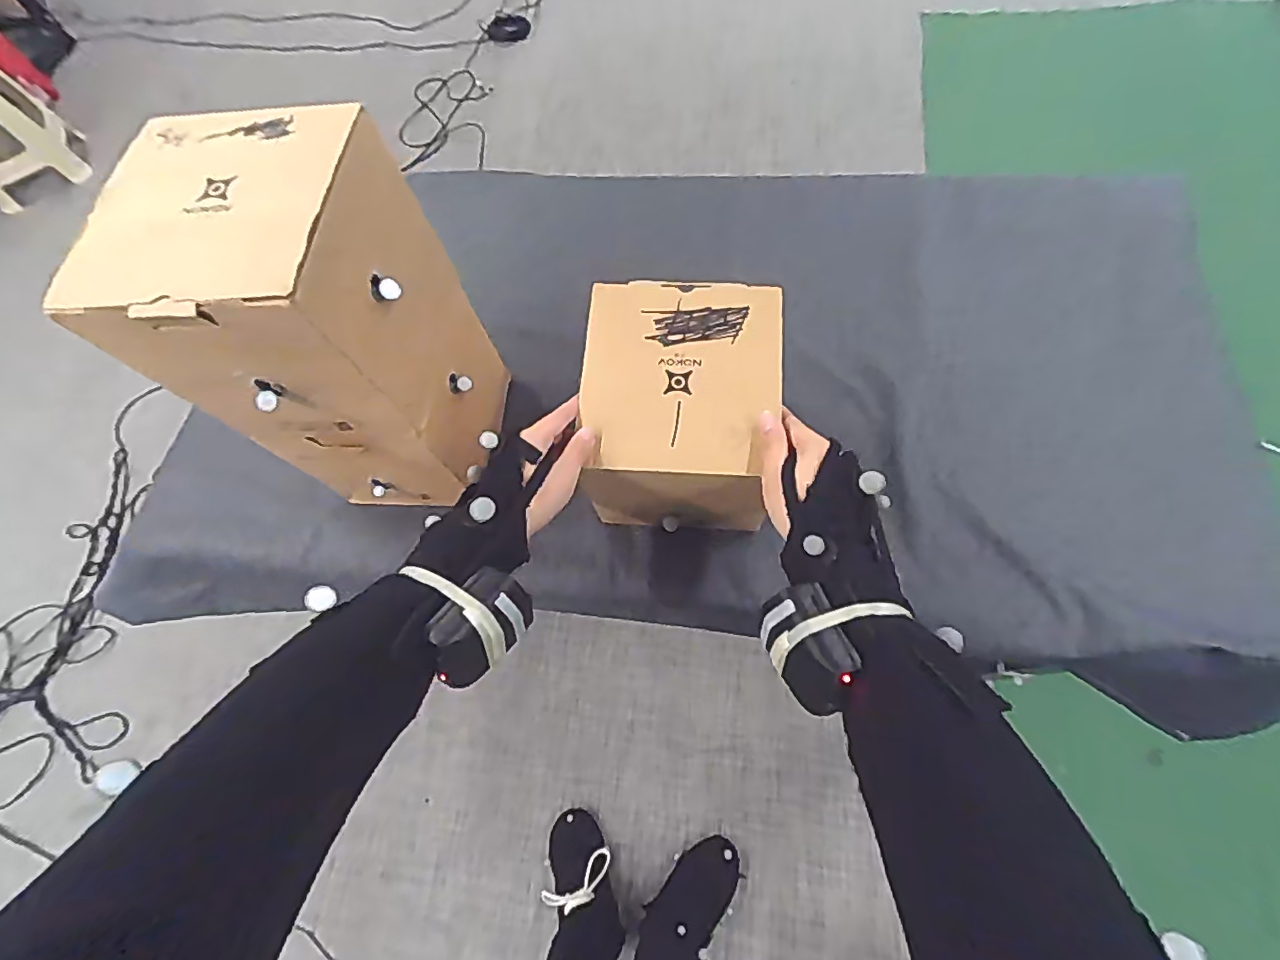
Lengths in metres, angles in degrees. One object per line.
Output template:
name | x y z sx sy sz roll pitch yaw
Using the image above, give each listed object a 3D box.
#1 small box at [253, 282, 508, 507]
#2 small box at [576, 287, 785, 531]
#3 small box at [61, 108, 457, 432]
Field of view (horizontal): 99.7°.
small box | -0.251 -0.085 0.577 0.168 0.176 0.179 1 67 7
small box | 0.043 -0.061 0.523 0.168 0.176 0.179 2 71 7
small box | -0.263 -0.147 0.427 0.168 0.176 0.179 0 67 6
